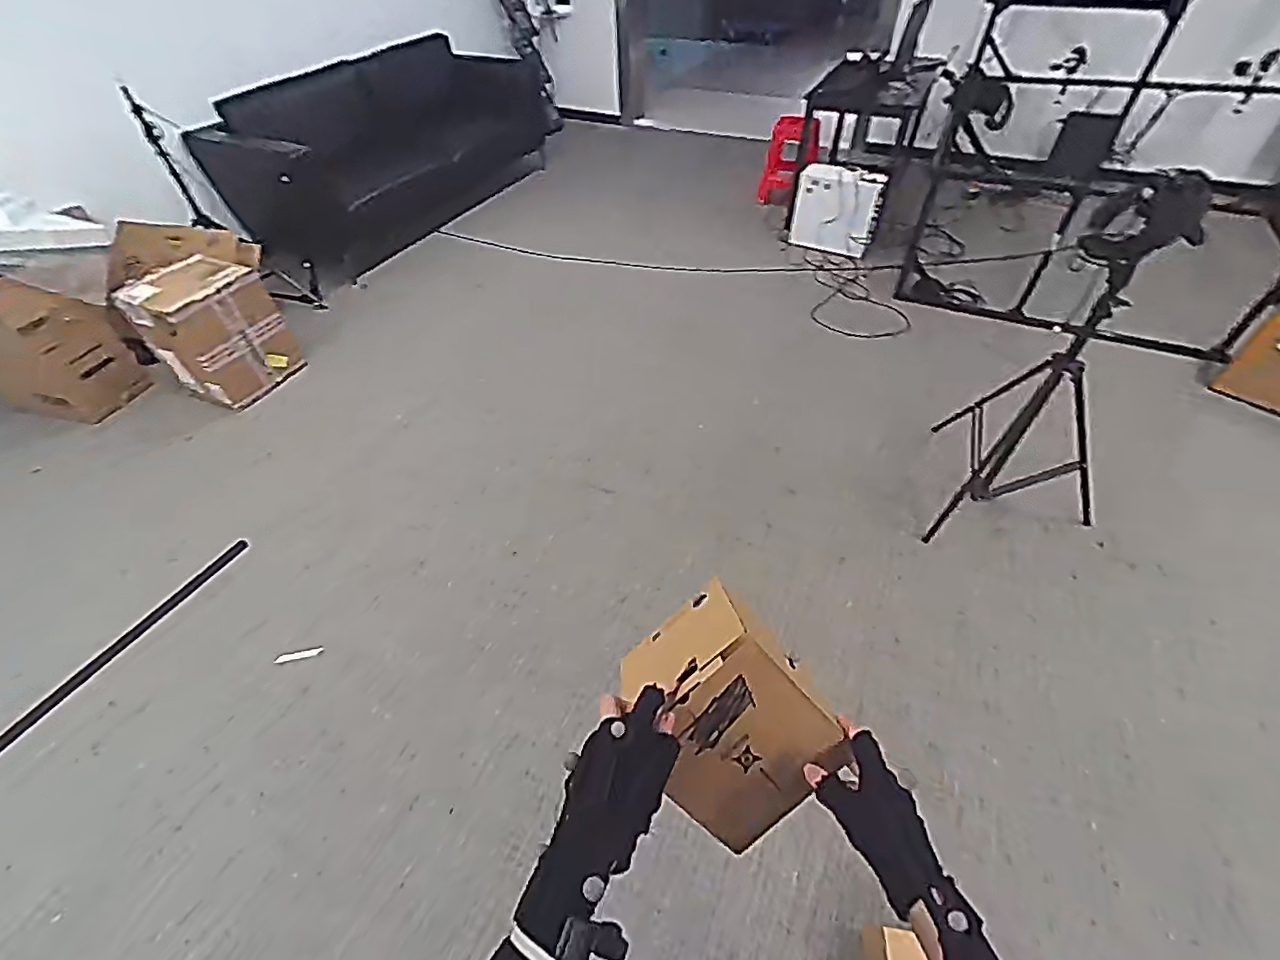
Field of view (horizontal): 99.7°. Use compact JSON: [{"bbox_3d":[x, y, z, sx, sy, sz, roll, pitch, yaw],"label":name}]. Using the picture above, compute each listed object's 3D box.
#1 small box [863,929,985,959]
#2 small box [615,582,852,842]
[{"bbox_3d":[0.545,0.975,1.025,0.179,0.176,0.168,4,47,7],"label":"small box"},{"bbox_3d":[0.088,0.235,0.601,0.168,0.176,0.179,-44,97,4],"label":"small box"}]
